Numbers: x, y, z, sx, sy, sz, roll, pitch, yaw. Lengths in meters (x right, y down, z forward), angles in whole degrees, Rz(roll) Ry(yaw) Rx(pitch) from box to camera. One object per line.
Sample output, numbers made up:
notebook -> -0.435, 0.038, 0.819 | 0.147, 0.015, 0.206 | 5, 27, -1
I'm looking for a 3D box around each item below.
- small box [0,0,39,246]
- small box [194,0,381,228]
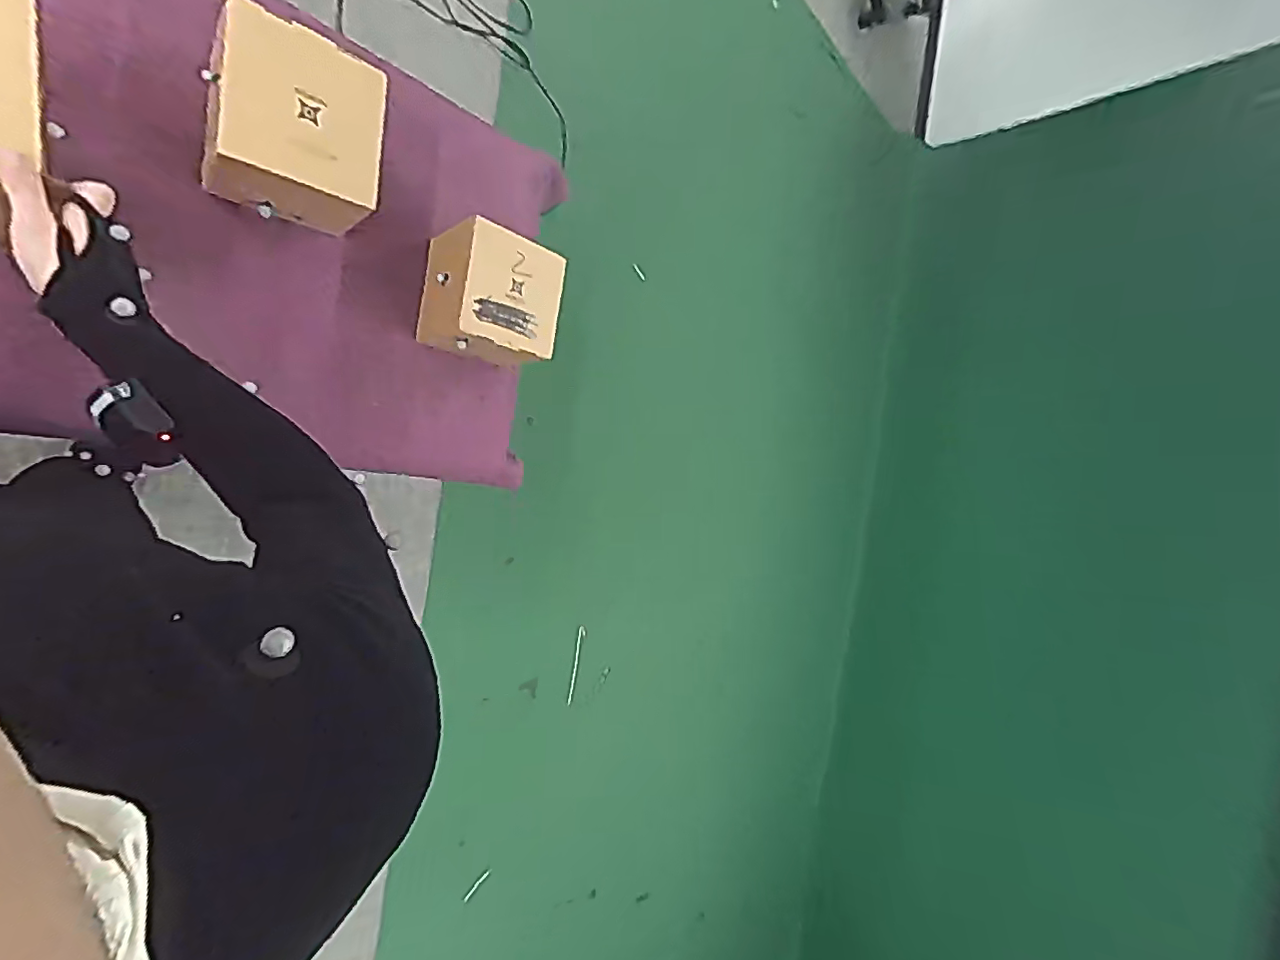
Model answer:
small box -> -0.607, -0.316, 0.431 | 0.168, 0.176, 0.179 | -2, 87, -47
small box -> -0.453, -0.454, 0.692 | 0.168, 0.176, 0.179 | 4, 94, -45
